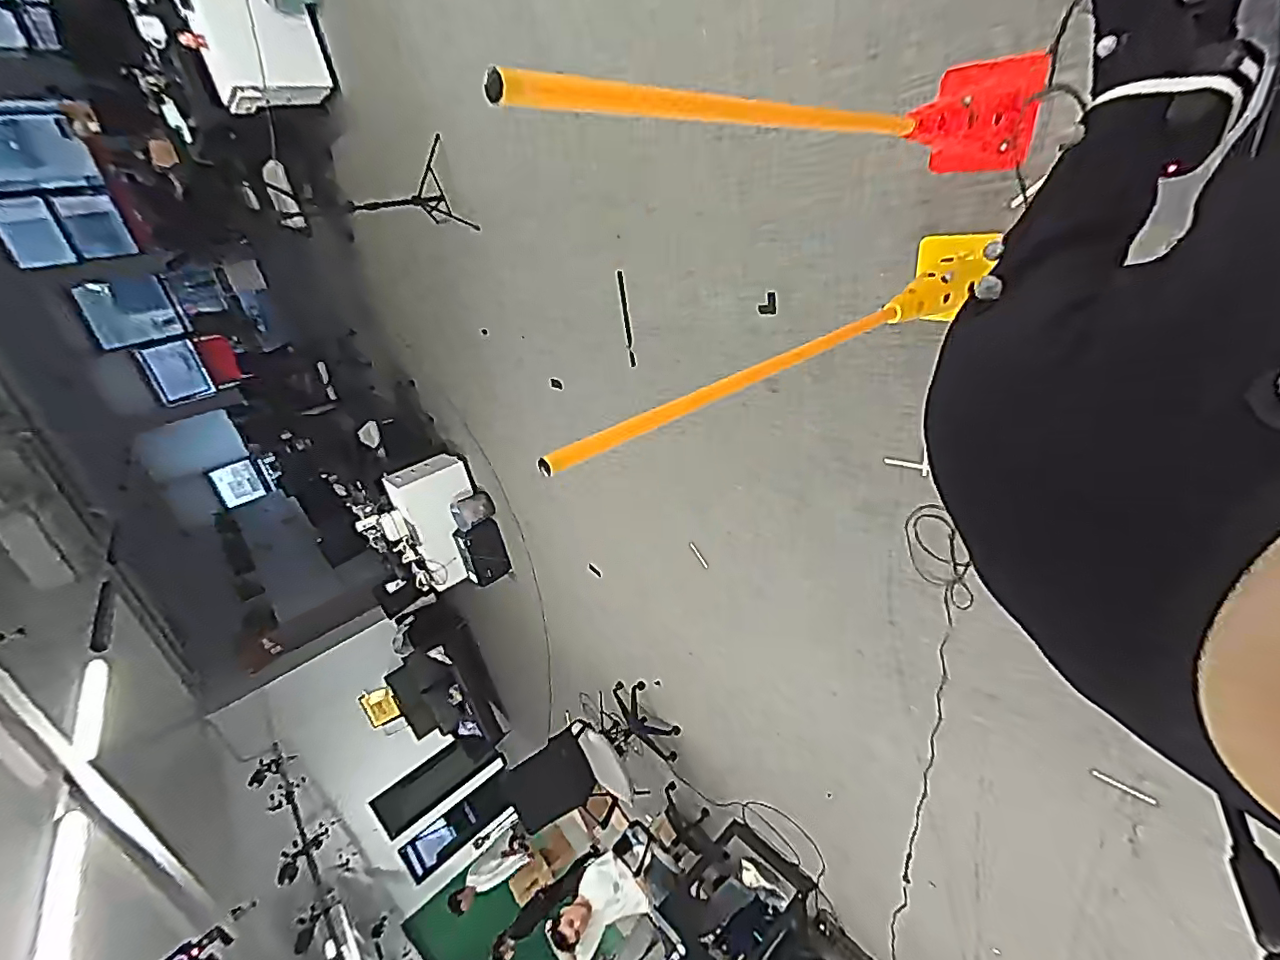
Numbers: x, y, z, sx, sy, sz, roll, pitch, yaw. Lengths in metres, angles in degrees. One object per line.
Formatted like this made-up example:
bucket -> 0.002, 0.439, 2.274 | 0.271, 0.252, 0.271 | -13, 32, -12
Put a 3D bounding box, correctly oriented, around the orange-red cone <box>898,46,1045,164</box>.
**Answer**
orange-red cone -> 0.596, -0.714, 1.047 | 0.198, 0.360, 0.199 | 26, 132, 40
